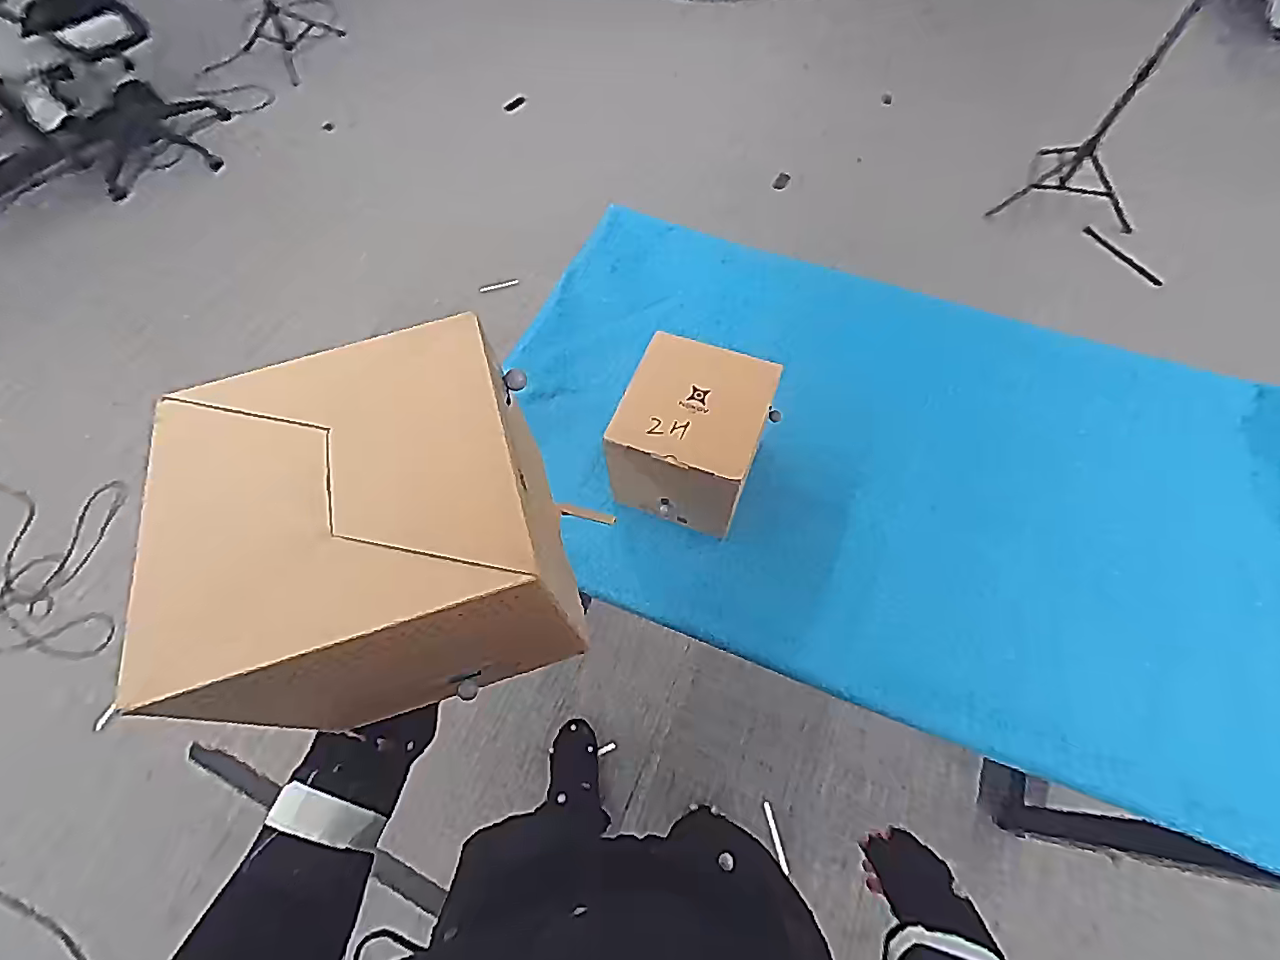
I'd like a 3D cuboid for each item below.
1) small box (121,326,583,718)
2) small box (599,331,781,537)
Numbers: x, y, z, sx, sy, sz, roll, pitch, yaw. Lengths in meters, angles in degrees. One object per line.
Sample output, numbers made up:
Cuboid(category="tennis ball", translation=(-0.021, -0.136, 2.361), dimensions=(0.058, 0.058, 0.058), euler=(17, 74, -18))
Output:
Cuboid(category="small box", translation=(-0.149, 0.033, 0.333), dimensions=(0.179, 0.176, 0.168), euler=(-16, 63, -5))
Cuboid(category="small box", translation=(0.064, -0.053, 0.702), dimensions=(0.168, 0.176, 0.179), euler=(22, 68, 14))
